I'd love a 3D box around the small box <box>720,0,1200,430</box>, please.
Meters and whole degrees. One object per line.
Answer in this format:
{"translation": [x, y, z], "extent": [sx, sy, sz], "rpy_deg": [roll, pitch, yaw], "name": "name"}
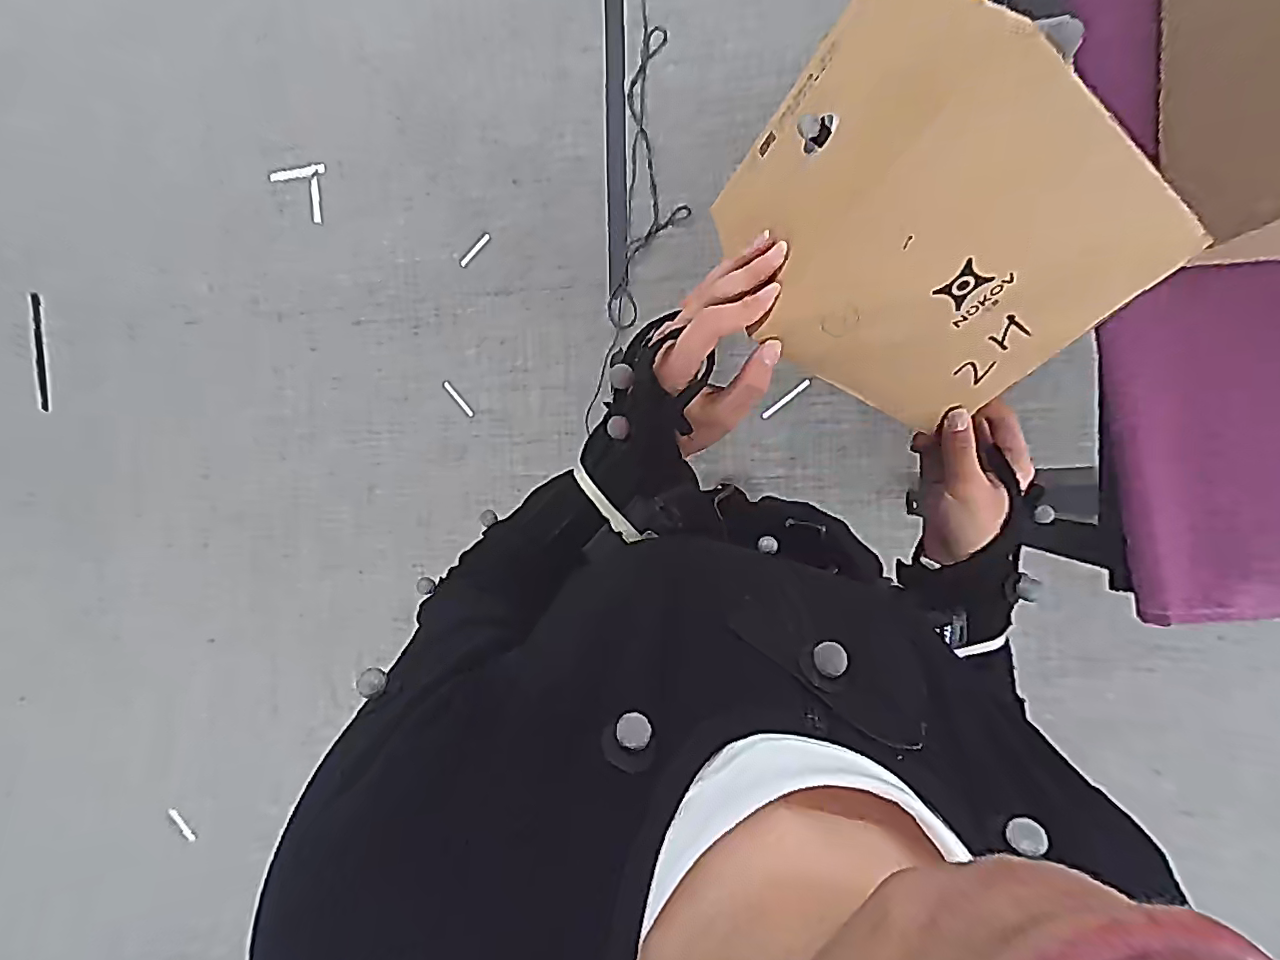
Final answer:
{"translation": [0.171, -0.168, 0.344], "extent": [0.179, 0.176, 0.168], "rpy_deg": [19, 136, -26], "name": "small box"}
